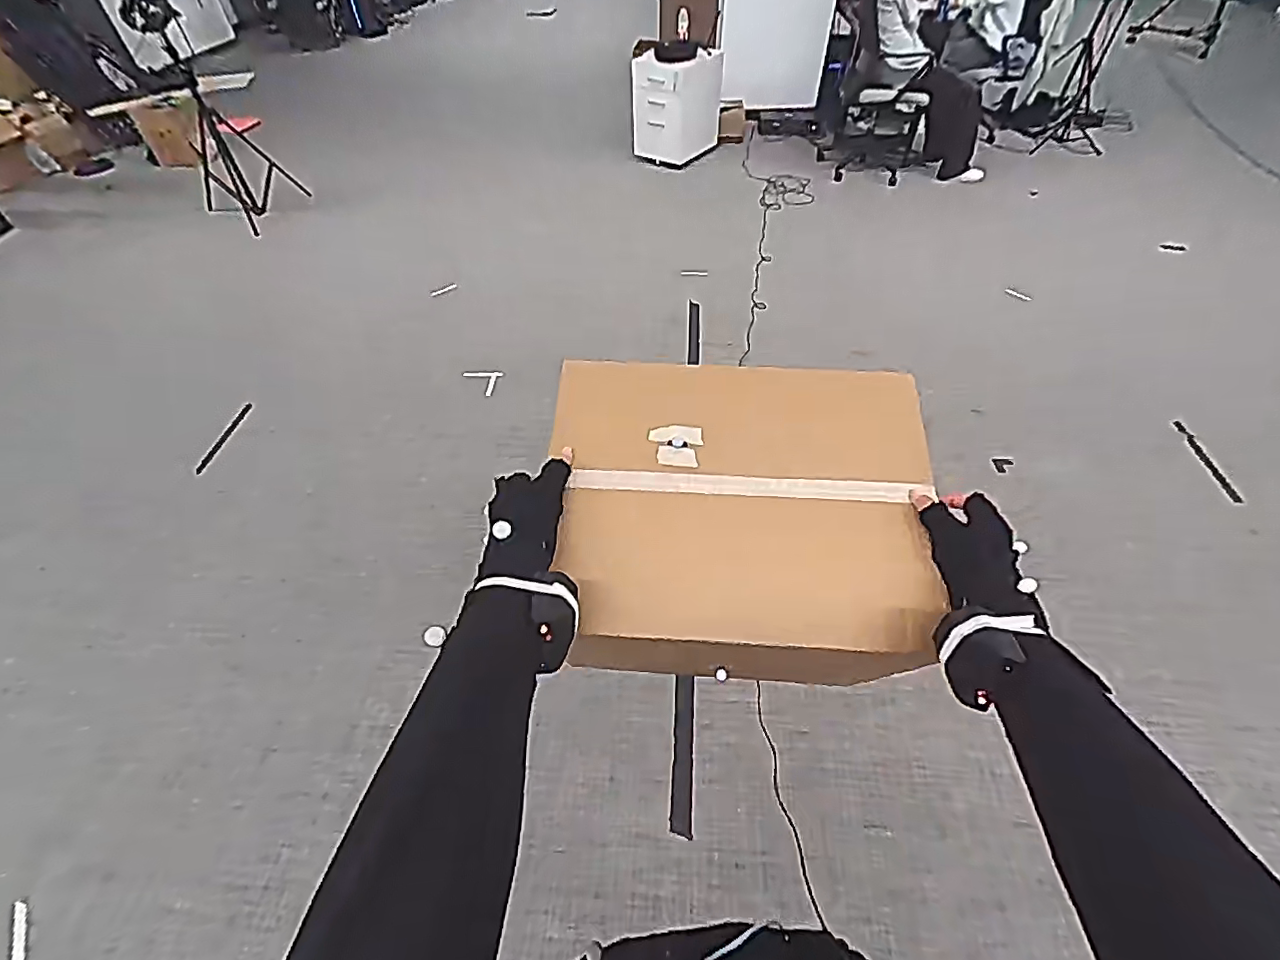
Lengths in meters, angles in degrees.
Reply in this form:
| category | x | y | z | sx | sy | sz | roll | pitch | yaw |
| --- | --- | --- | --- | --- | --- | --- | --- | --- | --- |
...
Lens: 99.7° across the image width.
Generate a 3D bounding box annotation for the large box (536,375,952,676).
| category | x | y | z | sx | sy | sz | roll | pitch | yaw |
| --- | --- | --- | --- | --- | --- | --- | --- | --- | --- |
| large box | 0.110 | 0.078 | 0.711 | 0.408 | 0.320 | 0.320 | 2 | 64 | 3 |
